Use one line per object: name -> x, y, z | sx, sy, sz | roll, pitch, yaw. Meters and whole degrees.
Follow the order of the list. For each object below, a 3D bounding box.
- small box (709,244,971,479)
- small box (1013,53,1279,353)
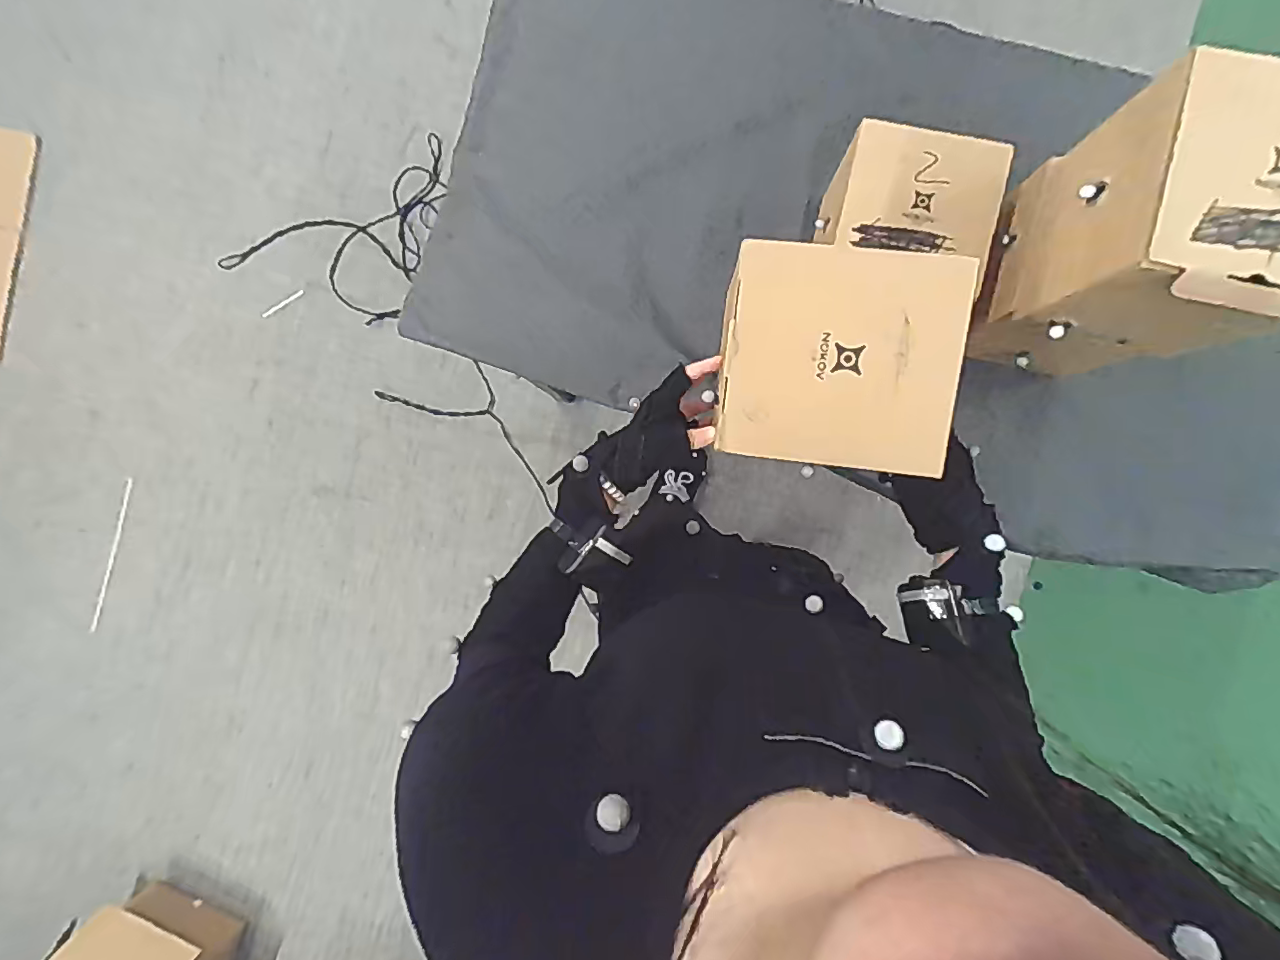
small box -> 0.160, -0.099, 0.497 | 0.179, 0.176, 0.168 | 8, 97, 5
small box -> 0.487, -0.231, 0.498 | 0.168, 0.176, 0.179 | 14, 90, 4
